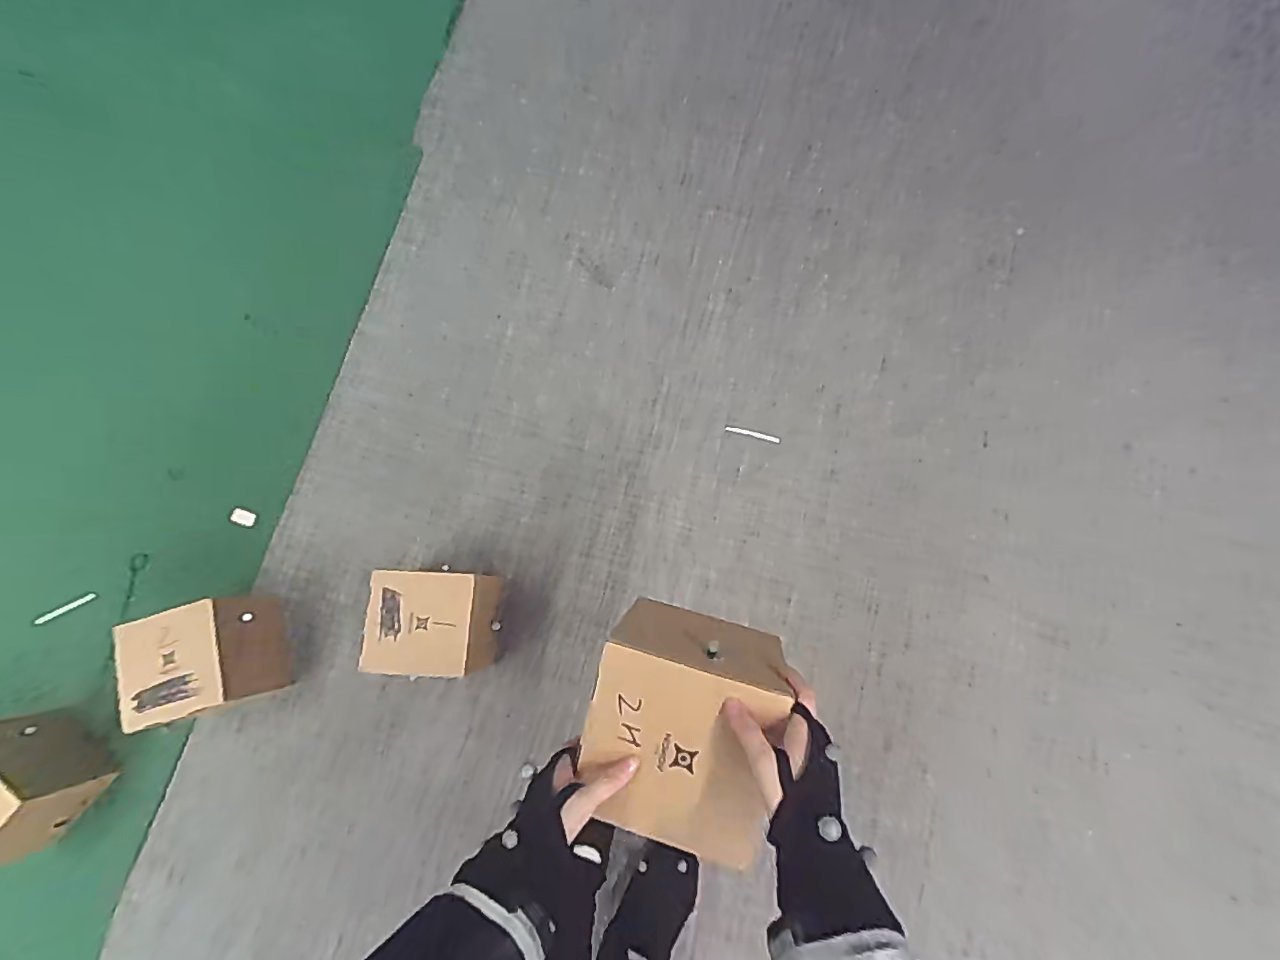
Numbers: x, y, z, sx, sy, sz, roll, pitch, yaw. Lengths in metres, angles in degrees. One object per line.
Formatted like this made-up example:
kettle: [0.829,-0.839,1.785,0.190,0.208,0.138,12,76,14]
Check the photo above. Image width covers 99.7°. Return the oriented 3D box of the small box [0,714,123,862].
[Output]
small box: [-1.069,0.527,0.924,0.179,0.176,0.168,38,82,9]

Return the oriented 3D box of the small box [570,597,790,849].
small box: [0.048,0.238,0.581,0.179,0.176,0.168,14,93,11]

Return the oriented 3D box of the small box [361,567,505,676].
small box: [-0.355,0.247,0.959,0.179,0.176,0.168,2,78,2]
